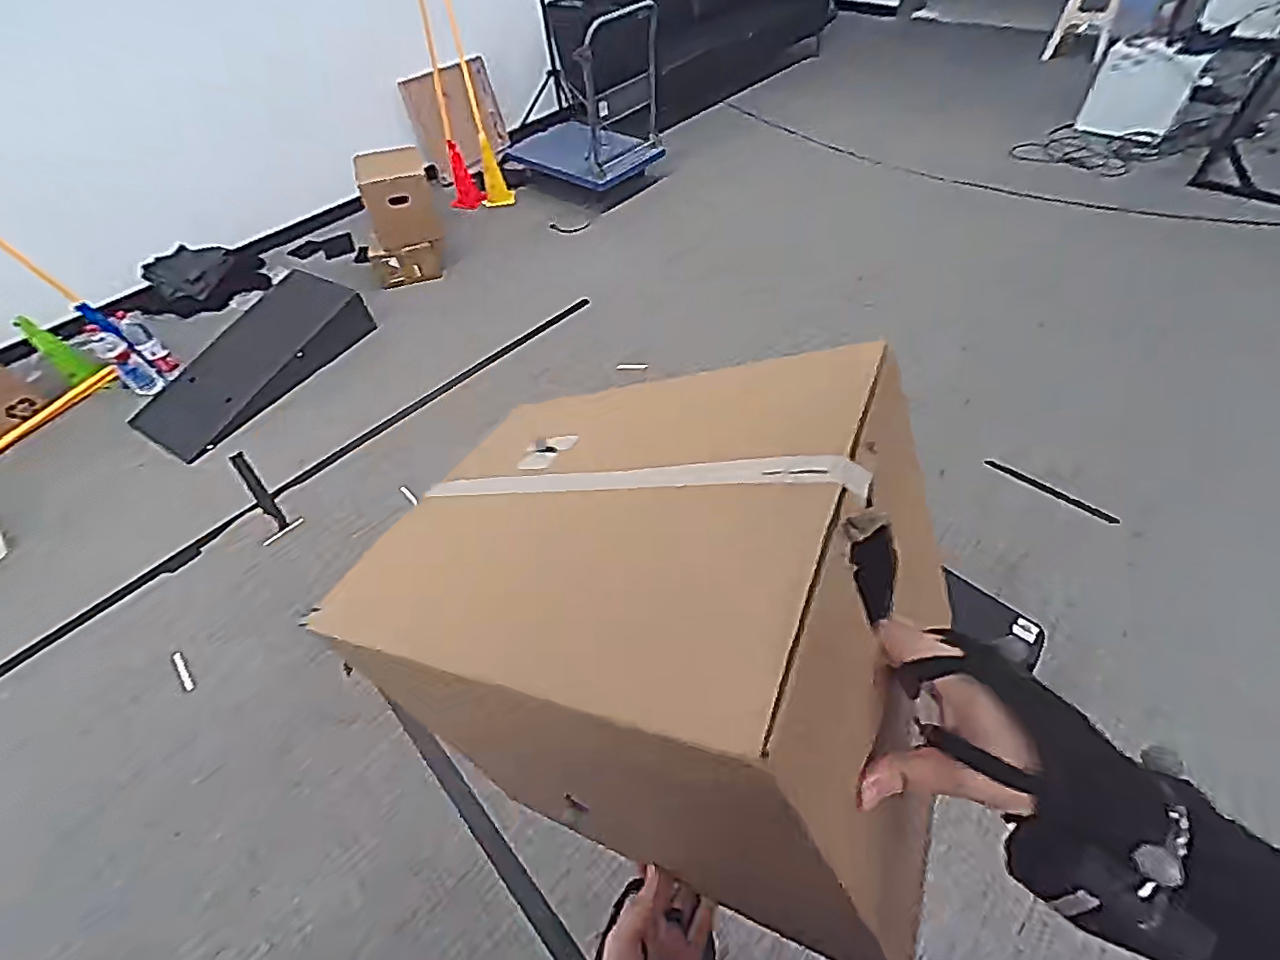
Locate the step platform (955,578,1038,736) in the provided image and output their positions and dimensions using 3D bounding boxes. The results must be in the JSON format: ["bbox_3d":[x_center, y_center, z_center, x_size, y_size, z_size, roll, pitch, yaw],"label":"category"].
[{"bbox_3d":[0.644,0.312,1.444,0.286,0.204,0.684,-35,55,-20],"label":"step platform"}]

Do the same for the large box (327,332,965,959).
[{"bbox_3d":[0.032,0.120,0.481,0.408,0.320,0.320,-5,36,39],"label":"large box"}]
